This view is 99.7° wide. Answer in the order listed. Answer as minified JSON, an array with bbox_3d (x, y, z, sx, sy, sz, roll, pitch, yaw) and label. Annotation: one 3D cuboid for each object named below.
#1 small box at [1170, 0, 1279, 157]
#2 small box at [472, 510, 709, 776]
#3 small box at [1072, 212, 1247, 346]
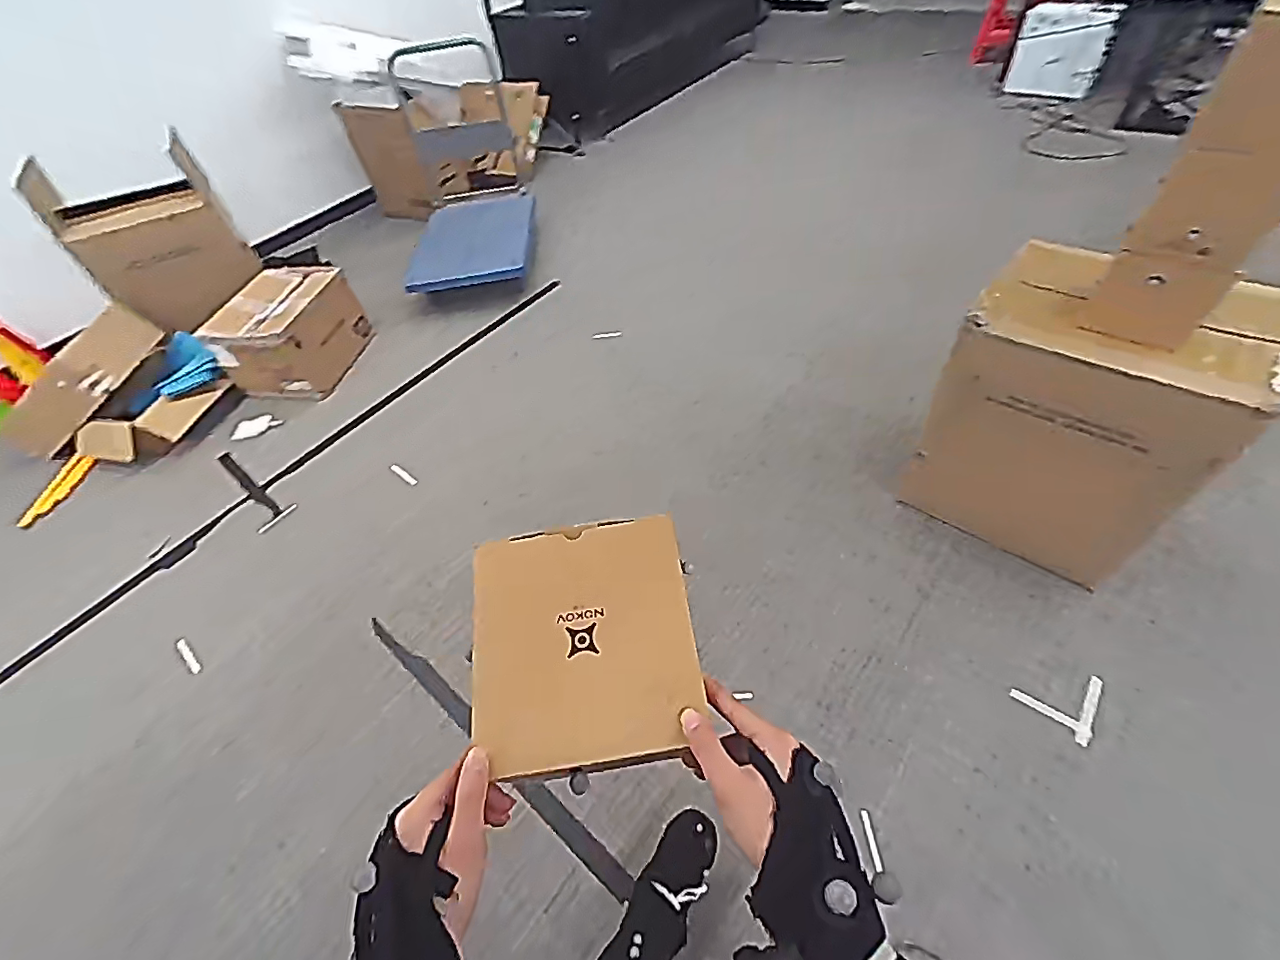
[{"bbox_3d":[0.946,-0.596,0.788,0.179,0.176,0.168,30,61,29],"label":"small box"},{"bbox_3d":[-0.037,0.150,0.472,0.168,0.176,0.179,-9,59,-1],"label":"small box"},{"bbox_3d":[0.983,-0.383,1.038,0.179,0.176,0.168,30,61,29],"label":"small box"}]
